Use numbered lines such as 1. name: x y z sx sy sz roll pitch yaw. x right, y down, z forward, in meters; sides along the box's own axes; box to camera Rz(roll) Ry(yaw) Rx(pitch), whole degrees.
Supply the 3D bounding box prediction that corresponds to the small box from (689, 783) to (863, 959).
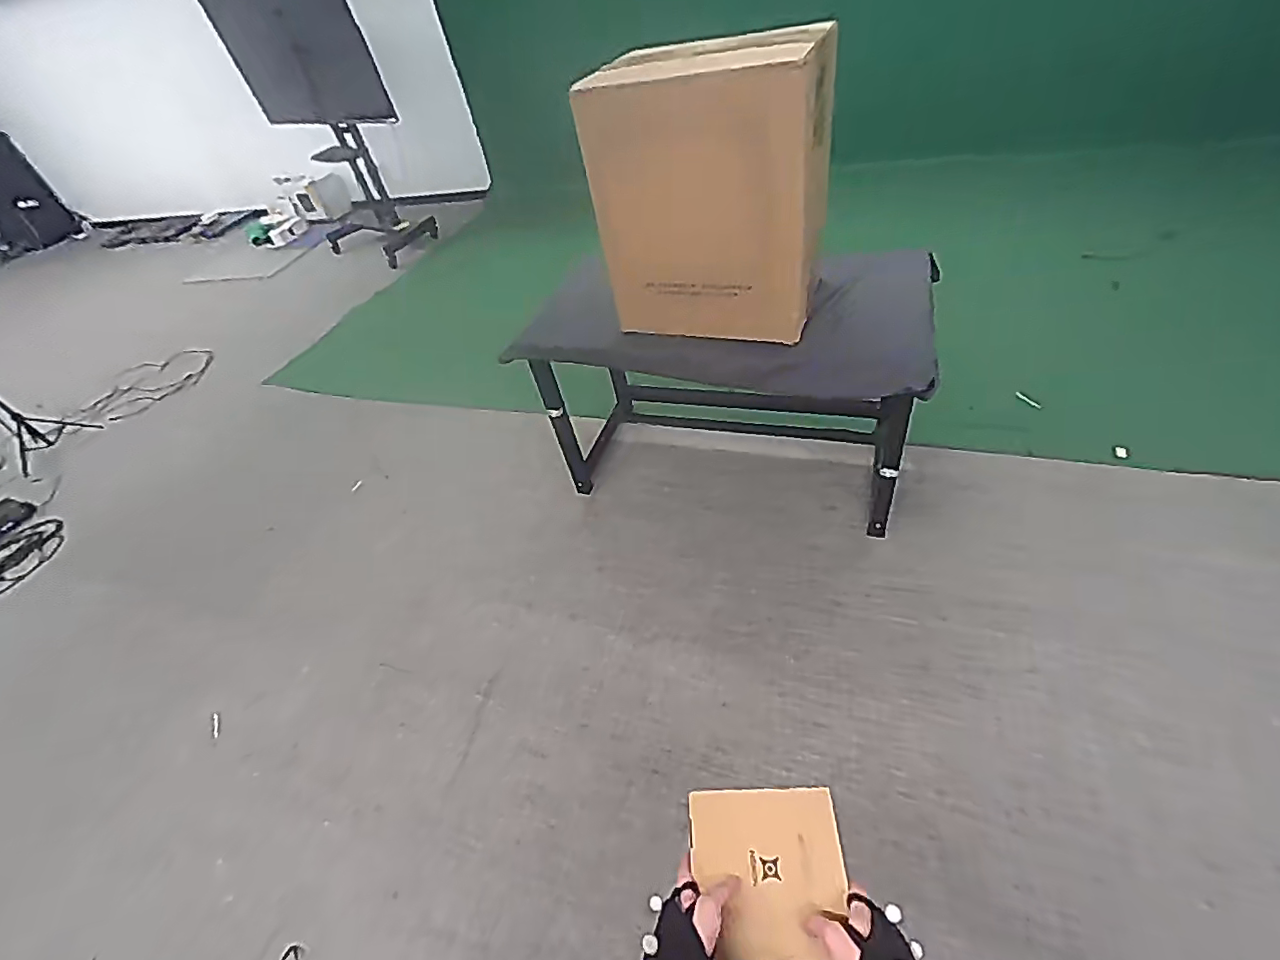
1. small box: 0.161 0.497 0.685 0.179 0.176 0.168 -6 50 5
